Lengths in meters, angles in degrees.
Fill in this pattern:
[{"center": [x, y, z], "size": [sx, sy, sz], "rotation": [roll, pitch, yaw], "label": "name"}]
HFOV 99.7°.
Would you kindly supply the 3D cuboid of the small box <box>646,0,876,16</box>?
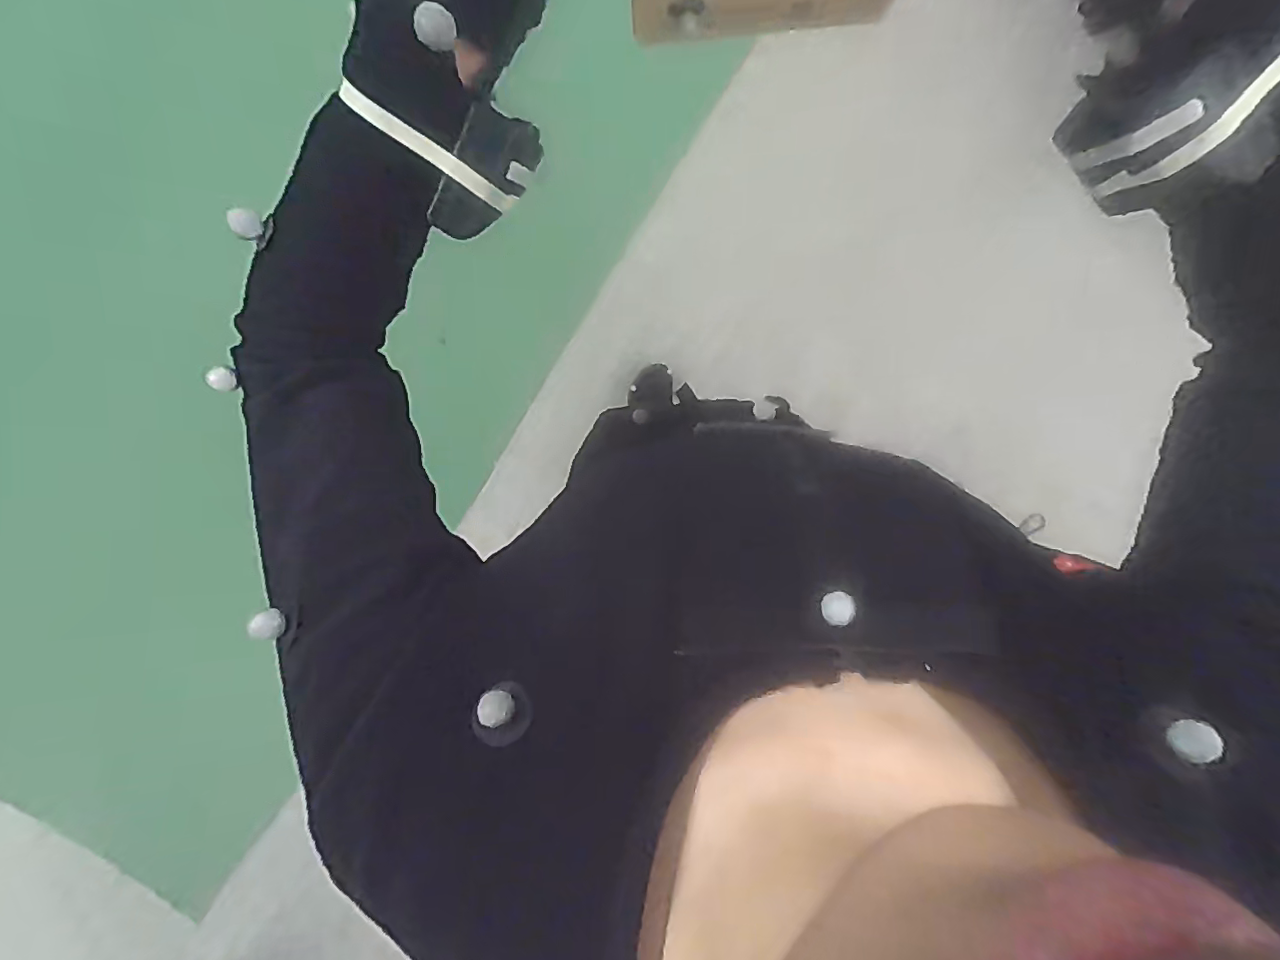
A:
[{"center": [0.068, -0.365, 0.256], "size": [0.168, 0.176, 0.179], "rotation": [-4, 97, 2], "label": "small box"}]
